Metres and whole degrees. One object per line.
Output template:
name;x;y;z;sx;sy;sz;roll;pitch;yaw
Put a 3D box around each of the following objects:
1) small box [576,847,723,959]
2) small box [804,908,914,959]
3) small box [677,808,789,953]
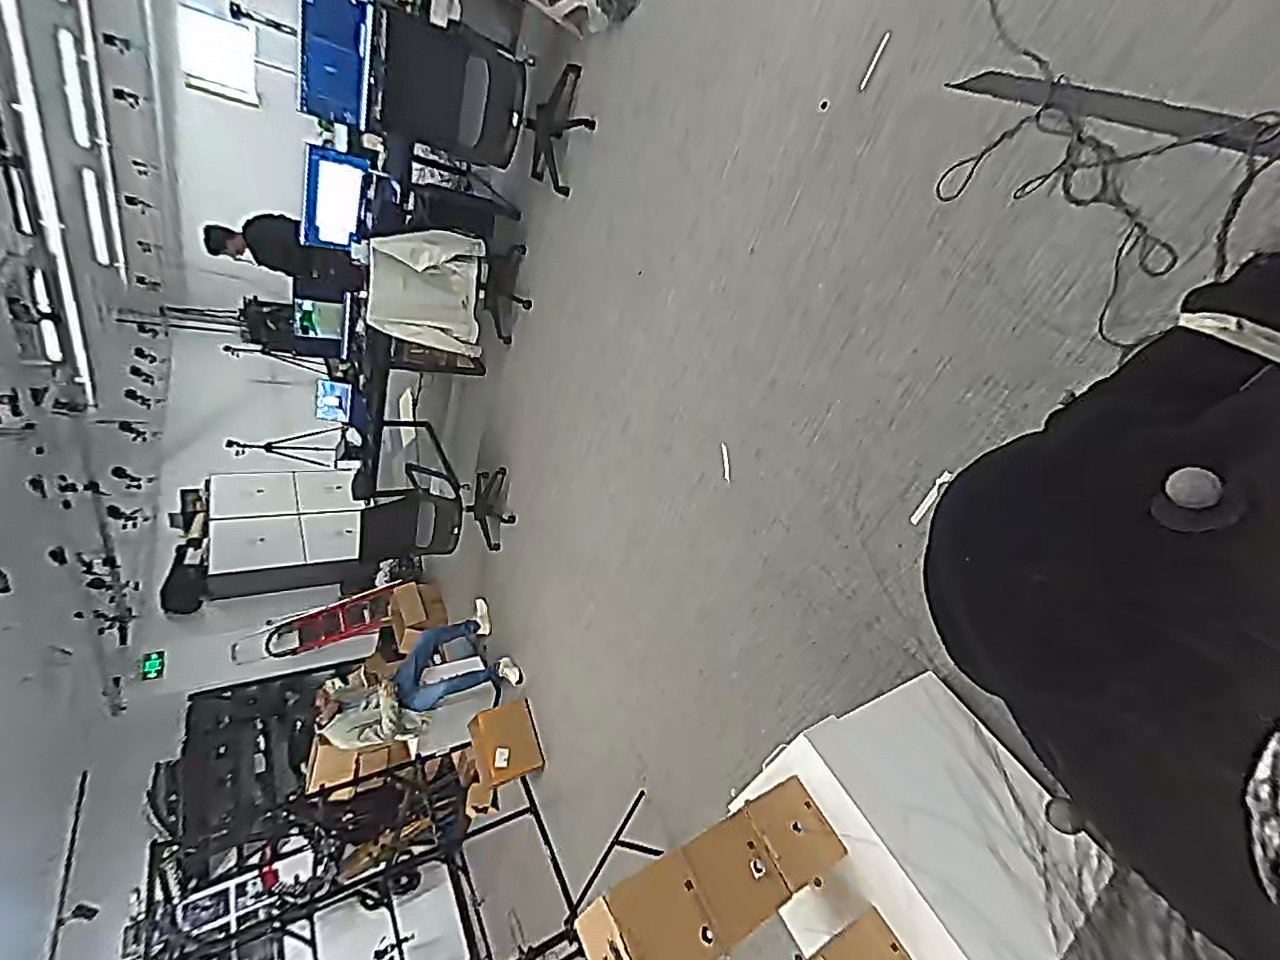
small box;0.017;0.777;0.932;0.168;0.176;0.179;54;135;34
small box;0.398;0.932;0.980;0.168;0.176;0.179;51;131;39
small box;0.149;0.770;1.031;0.168;0.176;0.179;52;132;35
